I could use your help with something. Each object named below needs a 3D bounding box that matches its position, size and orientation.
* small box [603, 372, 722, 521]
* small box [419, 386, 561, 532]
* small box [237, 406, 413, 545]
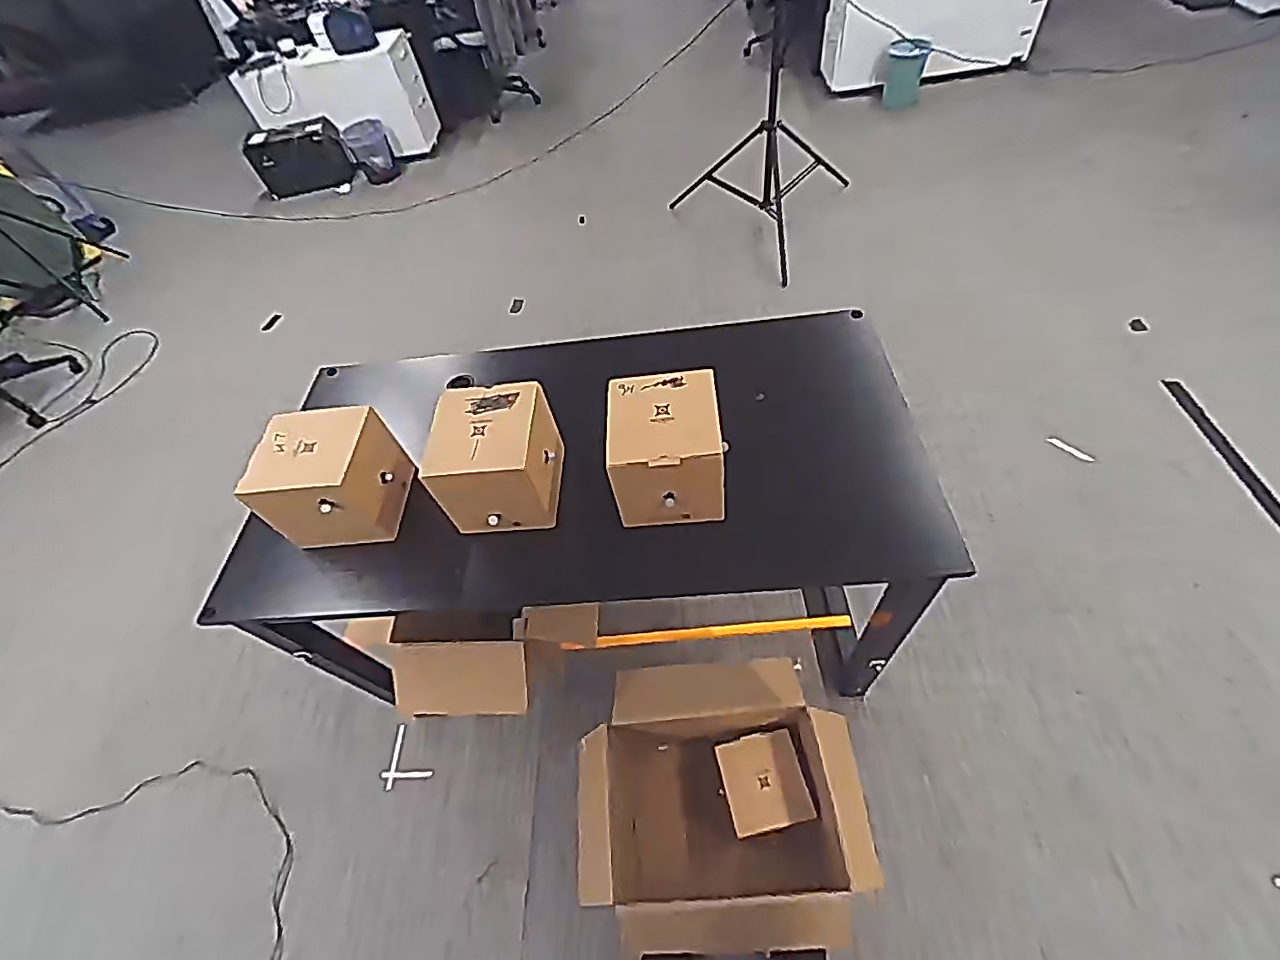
[{"bbox_3d":[0.041,-0.045,0.863,0.168,0.176,0.179,-5,54,6],"label":"small box"},{"bbox_3d":[-0.233,-0.032,0.896,0.168,0.176,0.179,-4,54,6],"label":"small box"},{"bbox_3d":[-0.515,-0.003,0.918,0.179,0.176,0.168,-5,53,5],"label":"small box"}]
